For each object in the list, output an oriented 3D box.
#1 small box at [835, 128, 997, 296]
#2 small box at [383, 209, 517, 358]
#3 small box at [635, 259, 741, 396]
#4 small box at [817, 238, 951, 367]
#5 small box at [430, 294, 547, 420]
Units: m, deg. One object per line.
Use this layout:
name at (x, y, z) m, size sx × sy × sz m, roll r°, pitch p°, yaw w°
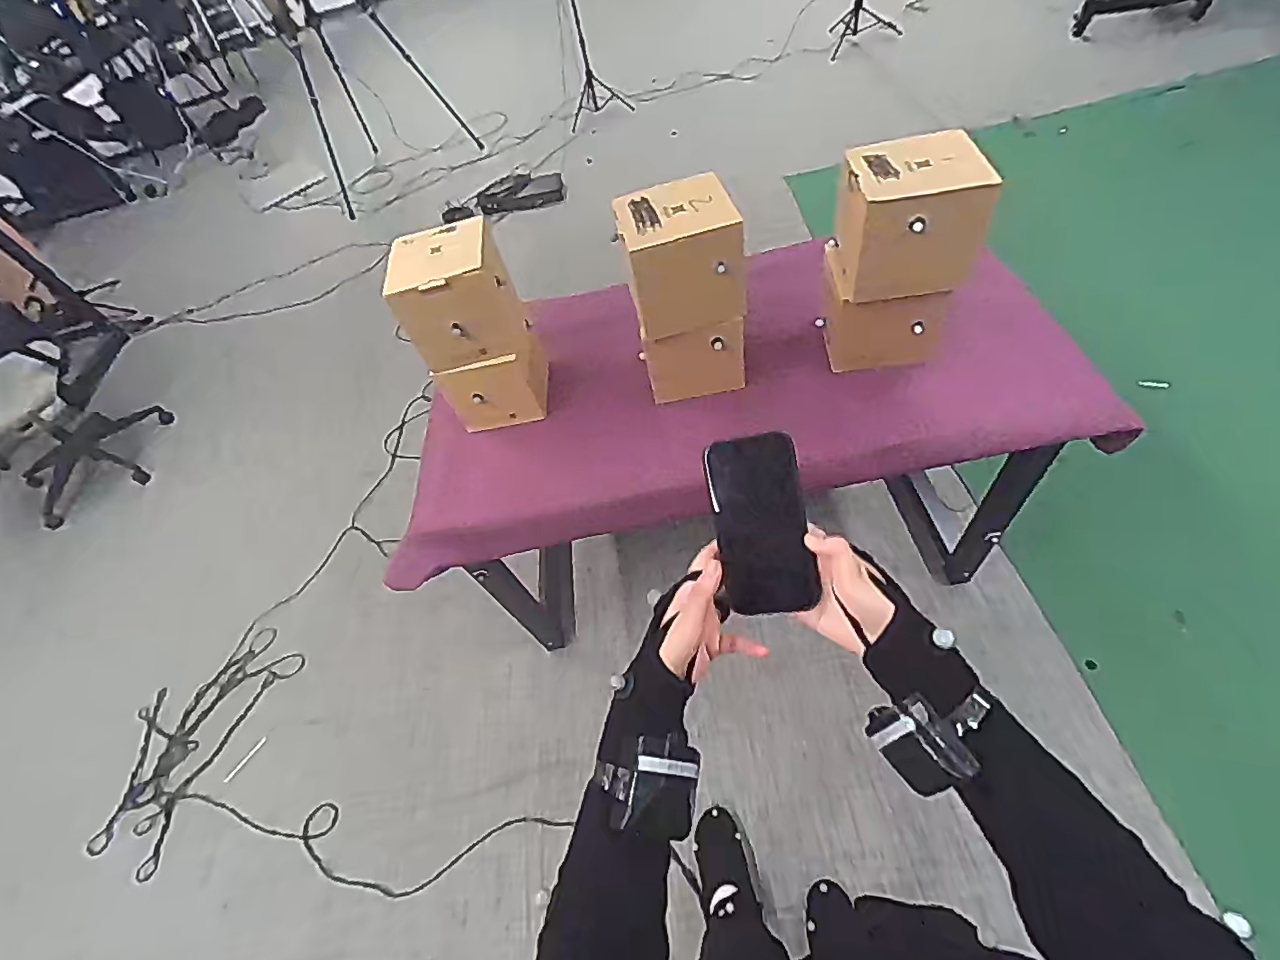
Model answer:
small box at (0.408, -0.406, 0.838) m, size 0.179 × 0.176 × 0.168 m, roll -4°, pitch 54°, yaw 9°
small box at (-0.322, -0.336, 0.952) m, size 0.168 × 0.176 × 0.179 m, roll -13°, pitch 54°, yaw 3°
small box at (0.093, -0.283, 1.024) m, size 0.179 × 0.176 × 0.168 m, roll -9°, pitch 54°, yaw 6°
small box at (0.428, -0.325, 0.980) m, size 0.179 × 0.176 × 0.168 m, roll -4°, pitch 54°, yaw 10°
small box at (-0.291, -0.236, 1.080) m, size 0.168 × 0.176 × 0.179 m, roll -9°, pitch 54°, yaw 7°
